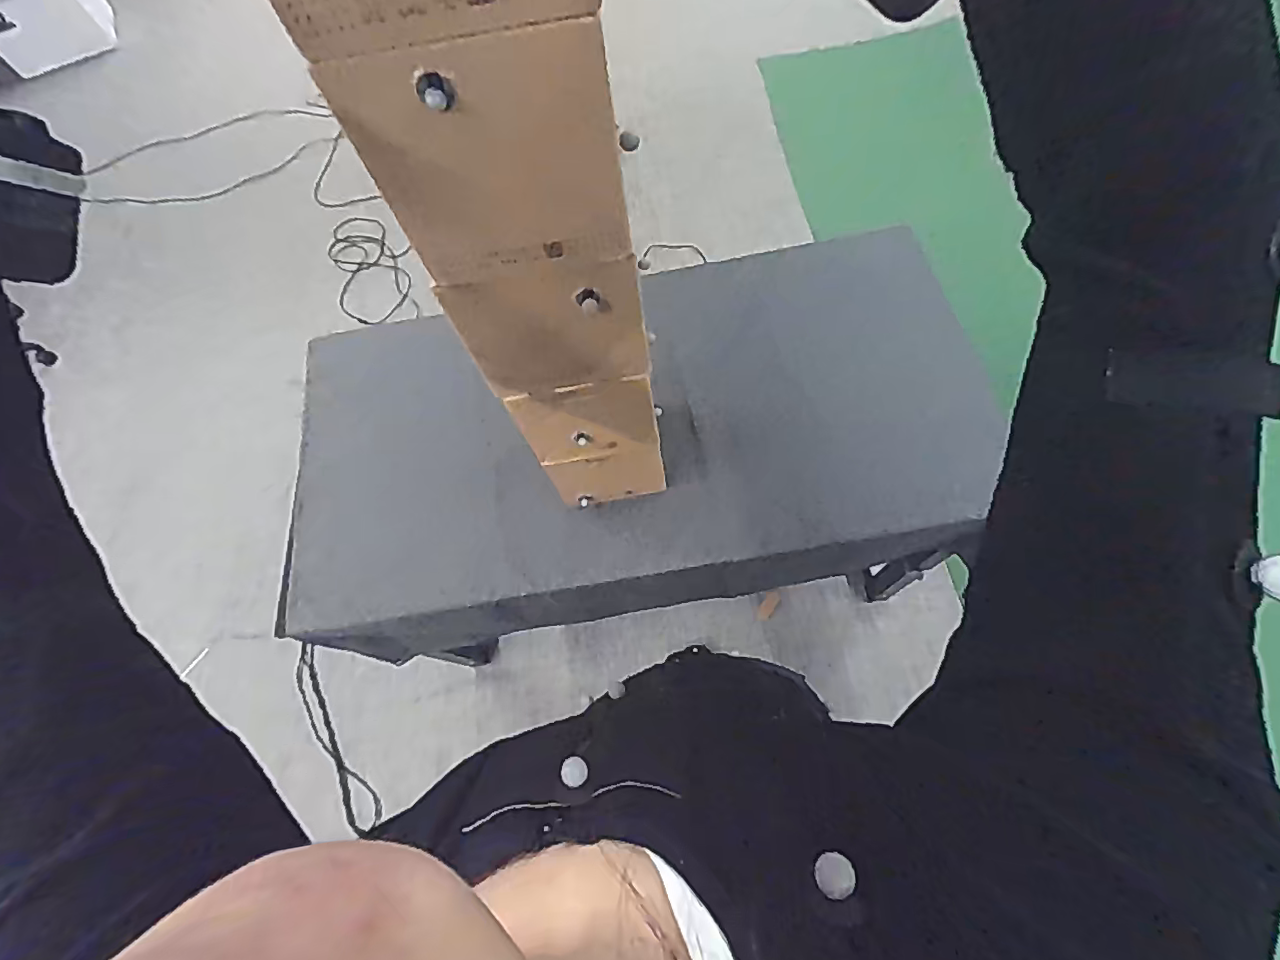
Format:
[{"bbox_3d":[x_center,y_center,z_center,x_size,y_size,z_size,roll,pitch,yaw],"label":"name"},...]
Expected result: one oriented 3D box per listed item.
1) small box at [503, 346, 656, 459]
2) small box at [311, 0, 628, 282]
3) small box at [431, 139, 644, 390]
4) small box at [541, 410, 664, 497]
[{"bbox_3d":[-0.076,-0.149,0.706,0.168,0.176,0.179,-10,65,2],"label":"small box"},{"bbox_3d":[-0.104,-0.281,0.407,0.168,0.176,0.179,-7,65,3],"label":"small box"},{"bbox_3d":[-0.091,-0.214,0.556,0.179,0.176,0.168,-9,65,3],"label":"small box"},{"bbox_3d":[-0.059,-0.084,0.853,0.168,0.176,0.179,-10,64,2],"label":"small box"}]
